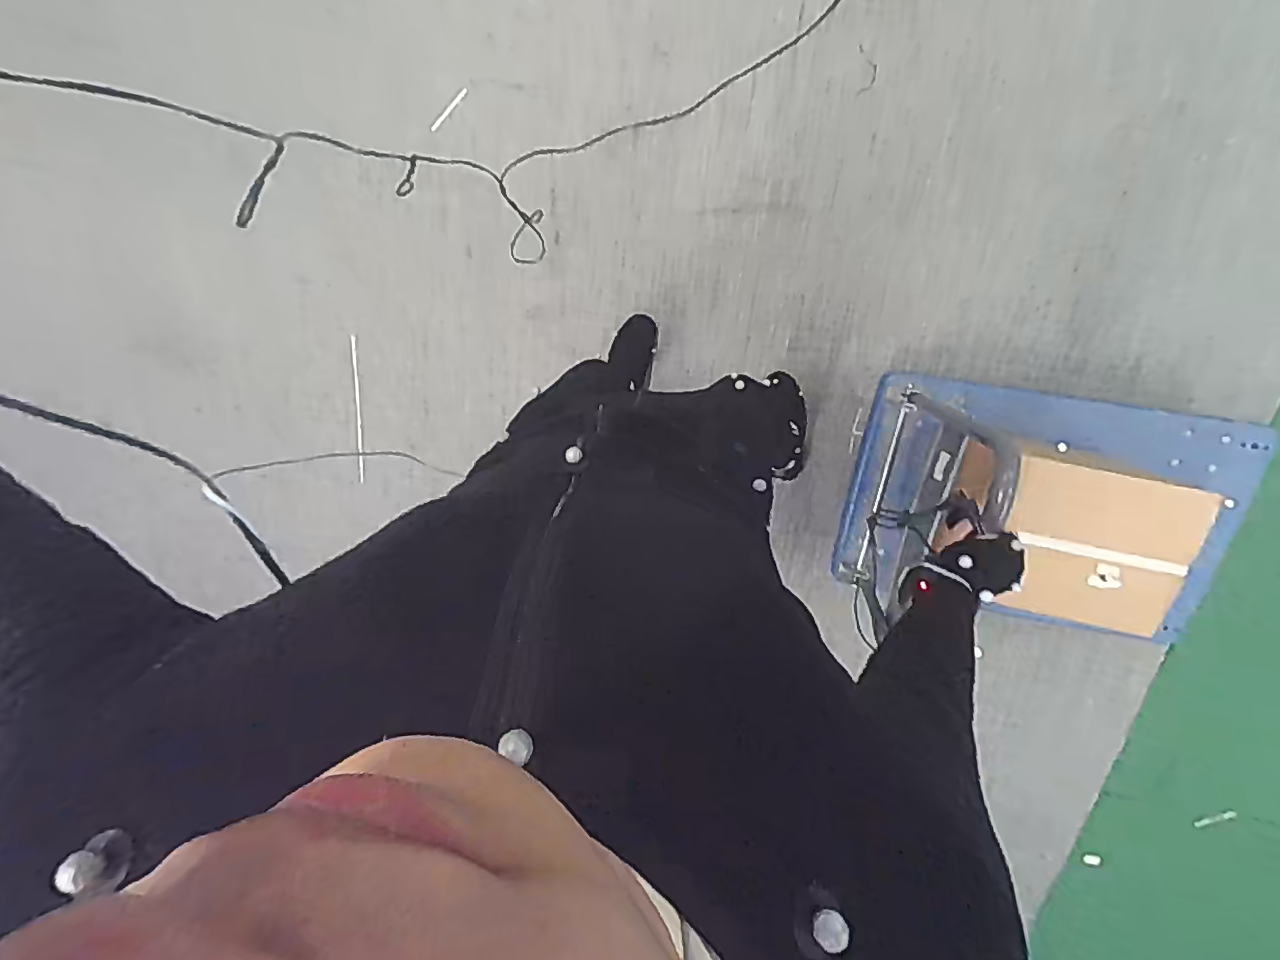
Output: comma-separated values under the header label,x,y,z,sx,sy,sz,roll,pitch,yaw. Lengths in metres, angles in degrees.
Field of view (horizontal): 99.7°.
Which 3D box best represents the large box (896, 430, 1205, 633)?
label,x,y,z,sx,sy,sz,roll,pitch,yaw
large box,0.863,0.091,1.214,0.408,0.320,0.320,12,108,4
